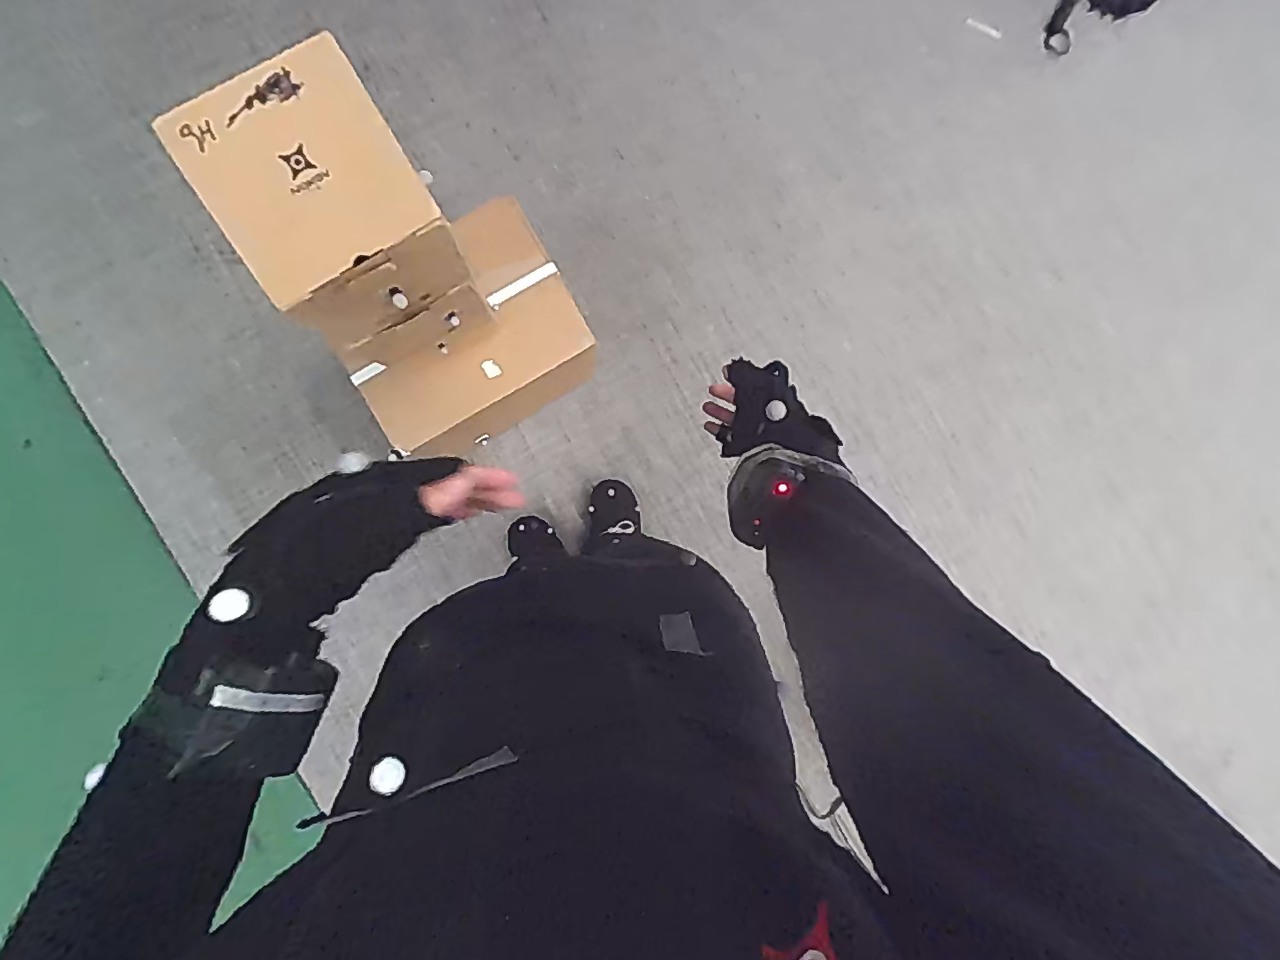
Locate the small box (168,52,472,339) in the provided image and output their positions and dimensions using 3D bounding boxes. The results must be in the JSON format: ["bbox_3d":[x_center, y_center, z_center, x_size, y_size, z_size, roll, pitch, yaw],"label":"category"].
[{"bbox_3d":[-0.292,-0.259,0.545,0.168,0.176,0.179,-32,98,-5],"label":"small box"}]

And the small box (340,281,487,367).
[{"bbox_3d":[-0.320,-0.262,0.707,0.168,0.176,0.179,-33,97,-5],"label":"small box"}]

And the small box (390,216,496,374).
[{"bbox_3d":[-0.343,-0.283,0.863,0.179,0.176,0.168,-24,95,-5],"label":"small box"}]
